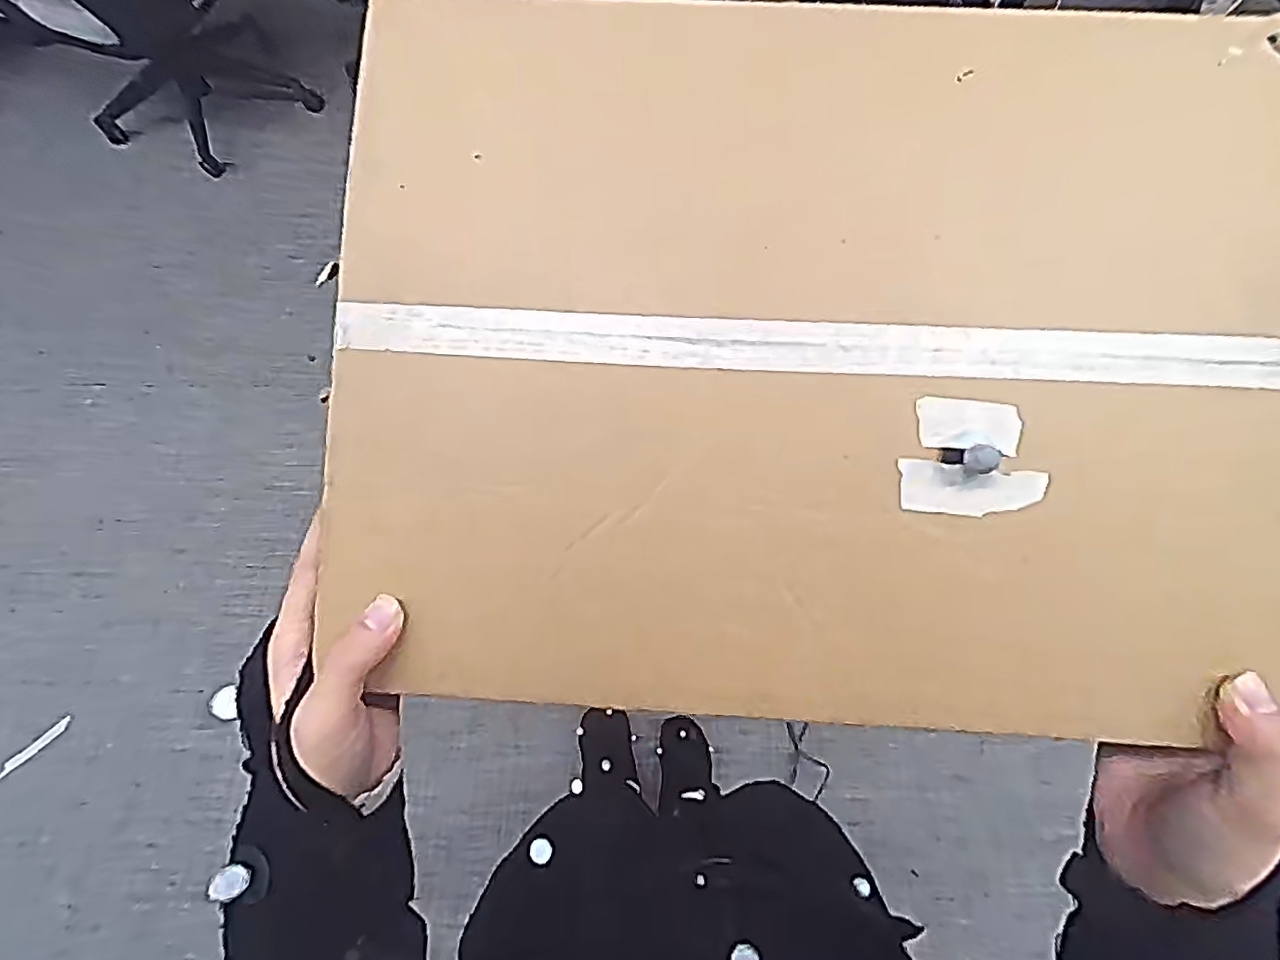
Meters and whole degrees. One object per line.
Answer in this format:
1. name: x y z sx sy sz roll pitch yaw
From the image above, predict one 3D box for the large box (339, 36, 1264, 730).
1. large box: 0.071 -0.041 0.390 0.408 0.320 0.320 3 87 1
